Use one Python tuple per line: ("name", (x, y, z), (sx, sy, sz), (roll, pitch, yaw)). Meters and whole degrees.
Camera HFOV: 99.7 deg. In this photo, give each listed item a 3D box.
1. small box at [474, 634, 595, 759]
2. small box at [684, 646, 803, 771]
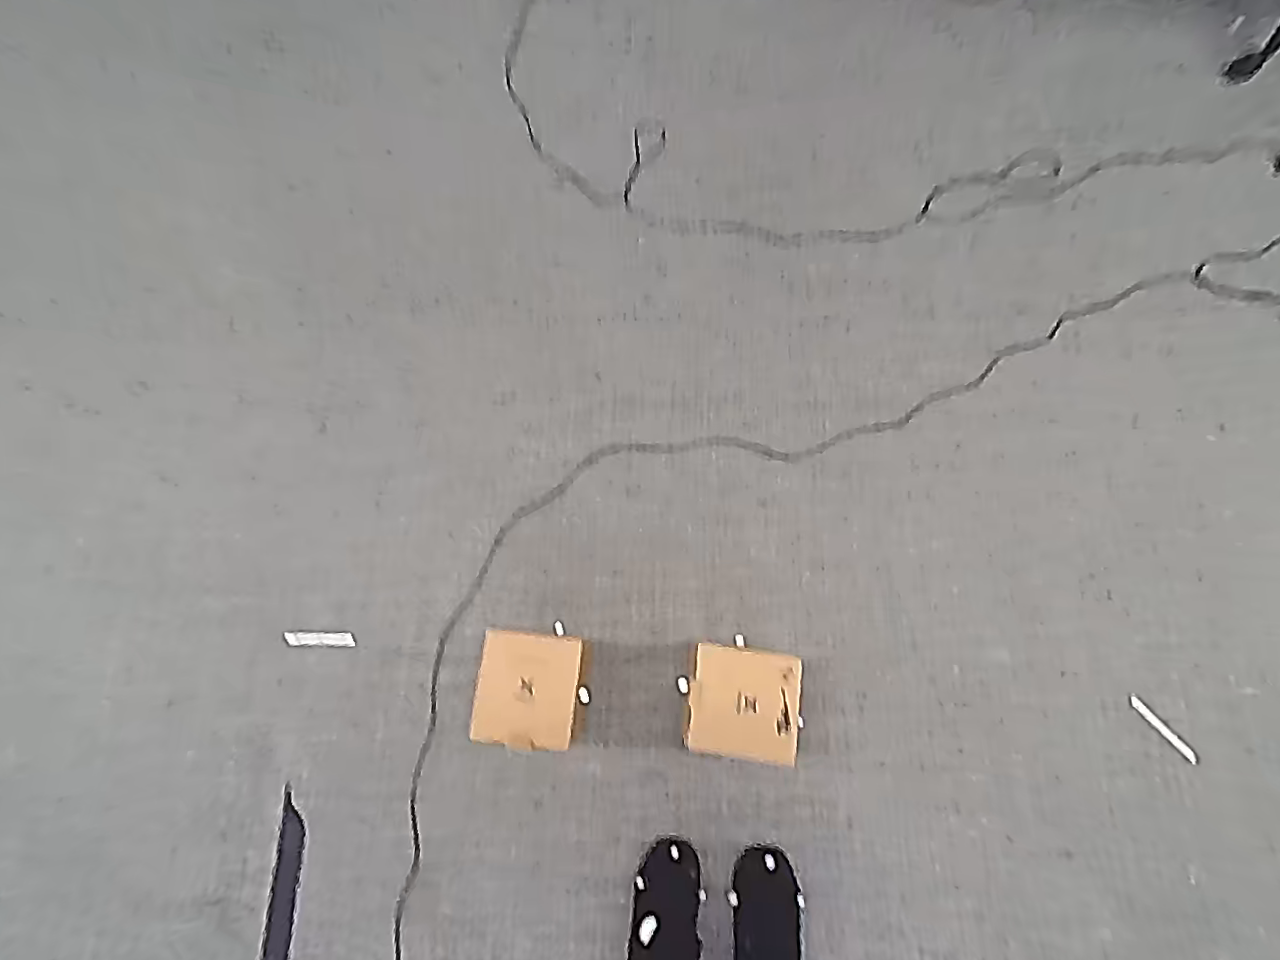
("small box", (-0.179, 0.378, 0.973), (0.168, 0.176, 0.179), (6, 75, 3))
("small box", (0.175, 0.391, 0.955), (0.179, 0.176, 0.168), (8, 76, 4))
